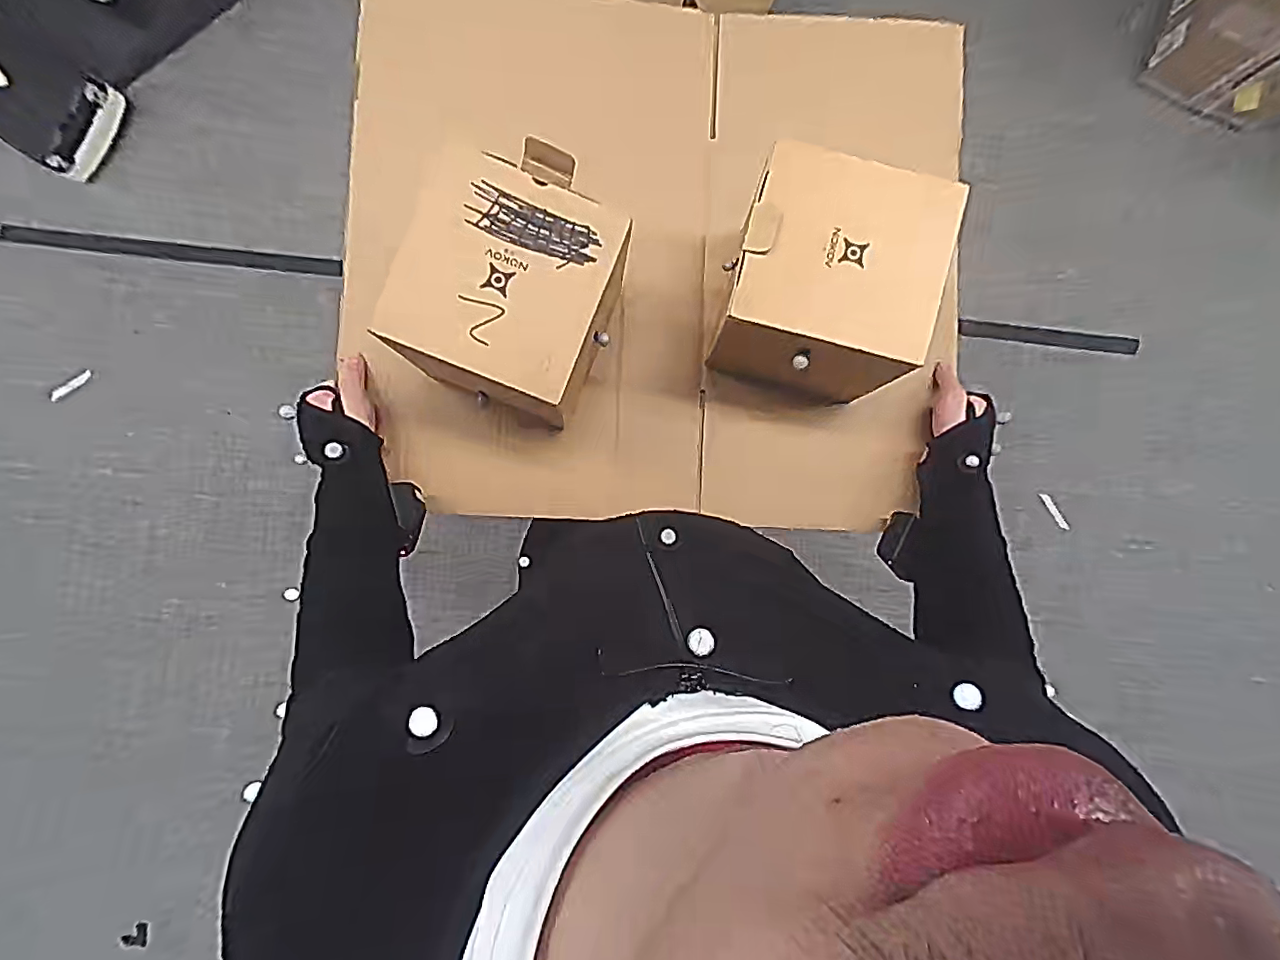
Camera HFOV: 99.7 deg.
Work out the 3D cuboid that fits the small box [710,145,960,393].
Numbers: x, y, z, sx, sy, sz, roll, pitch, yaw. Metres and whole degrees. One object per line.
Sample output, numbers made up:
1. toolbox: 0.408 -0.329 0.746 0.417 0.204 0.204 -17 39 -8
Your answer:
1. small box: 0.183 -0.198 0.561 0.179 0.176 0.168 15 87 2
